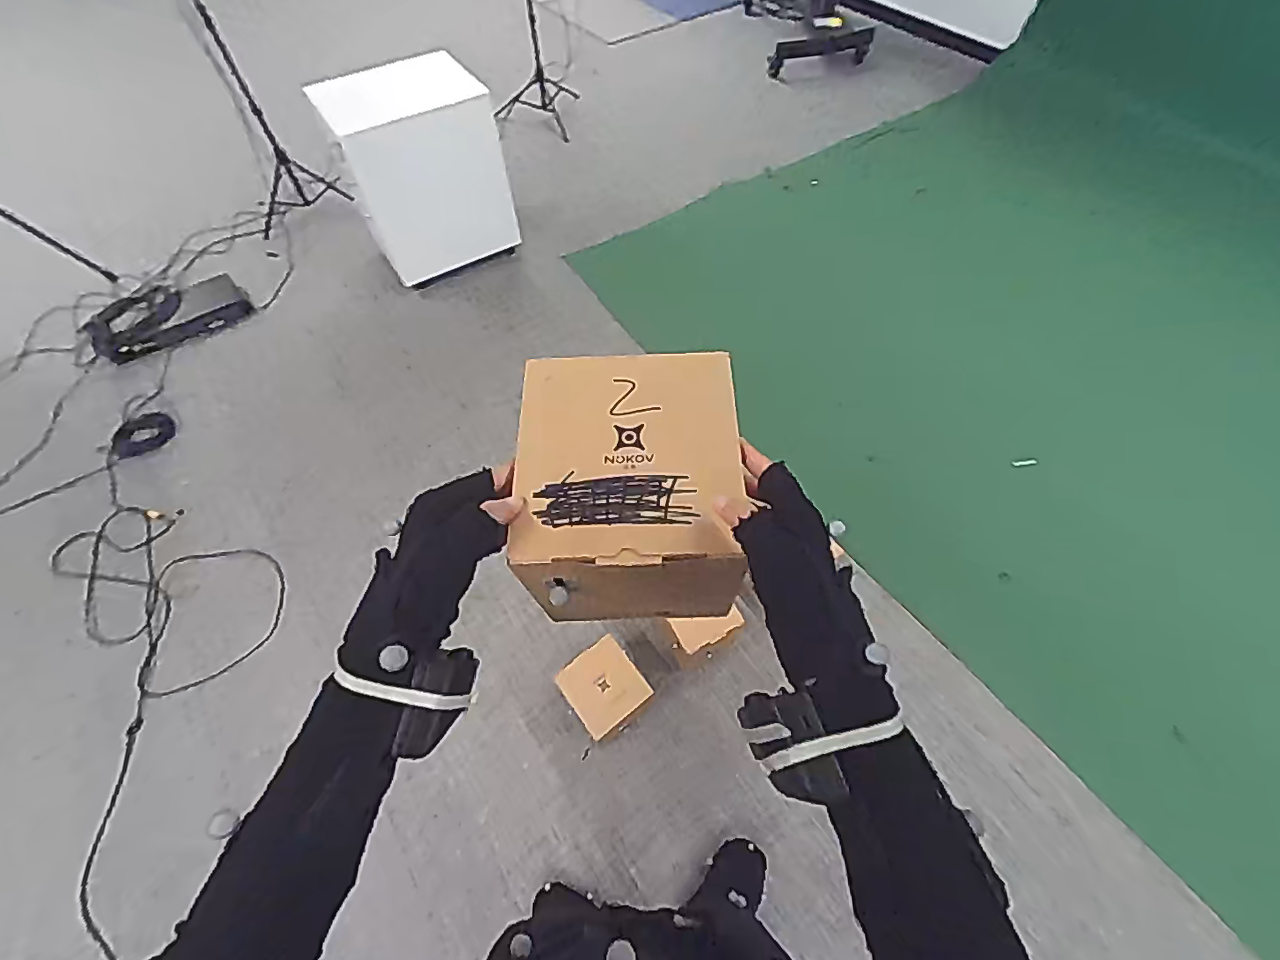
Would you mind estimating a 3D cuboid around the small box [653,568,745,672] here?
[{"bbox_3d":[0.142,0.363,1.387,0.168,0.176,0.179,-26,62,-15],"label":"small box"}]

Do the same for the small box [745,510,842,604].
[{"bbox_3d":[0.412,0.219,1.479,0.168,0.176,0.179,-30,62,-18],"label":"small box"}]

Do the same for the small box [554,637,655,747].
[{"bbox_3d":[-0.083,0.512,1.292,0.168,0.176,0.179,-35,66,-18],"label":"small box"}]
